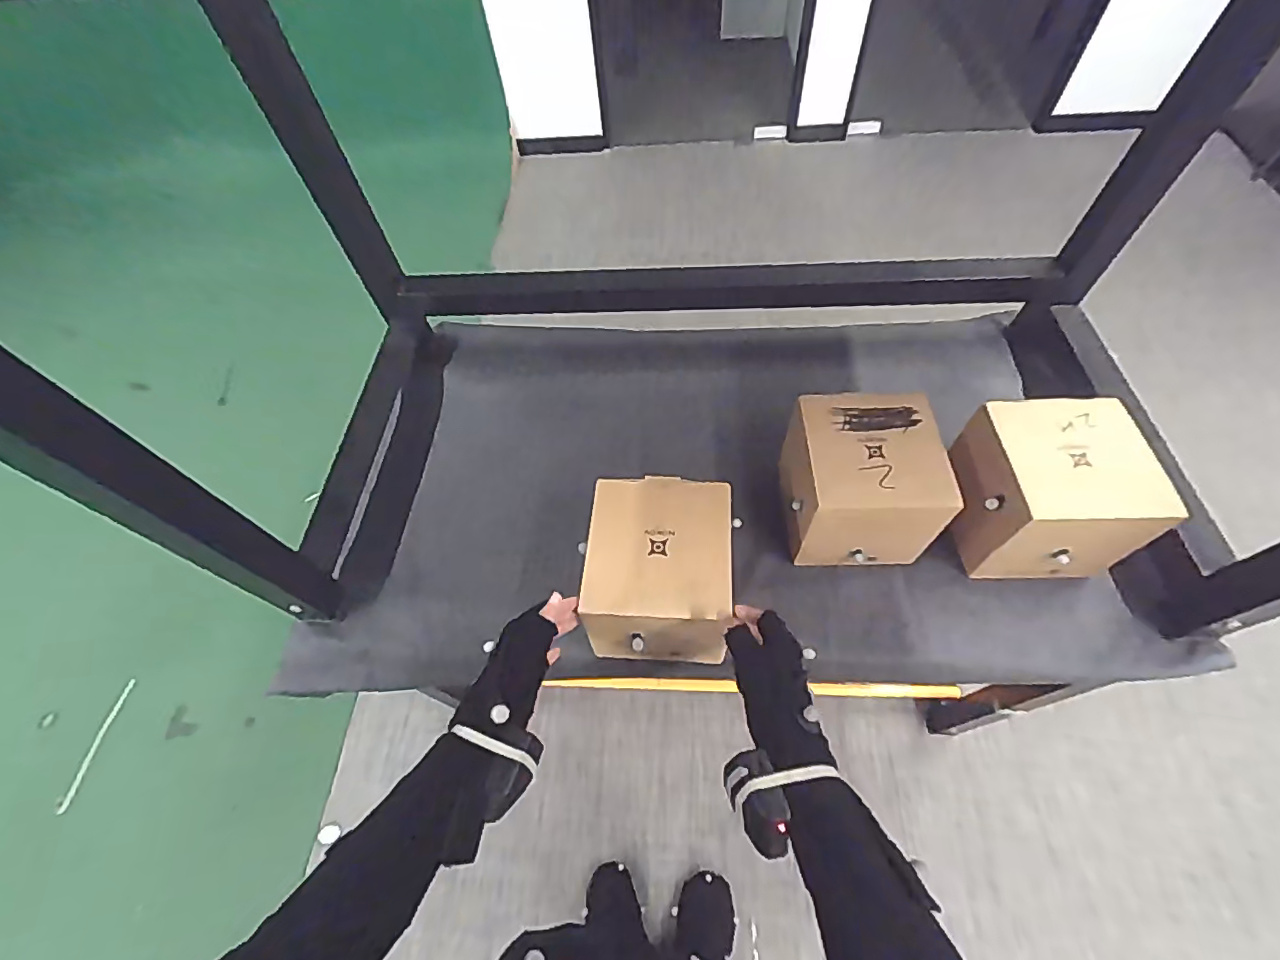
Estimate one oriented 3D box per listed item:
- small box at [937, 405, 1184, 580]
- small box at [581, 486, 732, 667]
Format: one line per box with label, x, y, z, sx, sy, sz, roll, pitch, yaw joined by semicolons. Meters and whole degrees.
small box;0.524;0.023;0.710;0.168;0.176;0.179;-1;56;3
small box;0.029;0.126;0.683;0.168;0.176;0.179;2;55;5
